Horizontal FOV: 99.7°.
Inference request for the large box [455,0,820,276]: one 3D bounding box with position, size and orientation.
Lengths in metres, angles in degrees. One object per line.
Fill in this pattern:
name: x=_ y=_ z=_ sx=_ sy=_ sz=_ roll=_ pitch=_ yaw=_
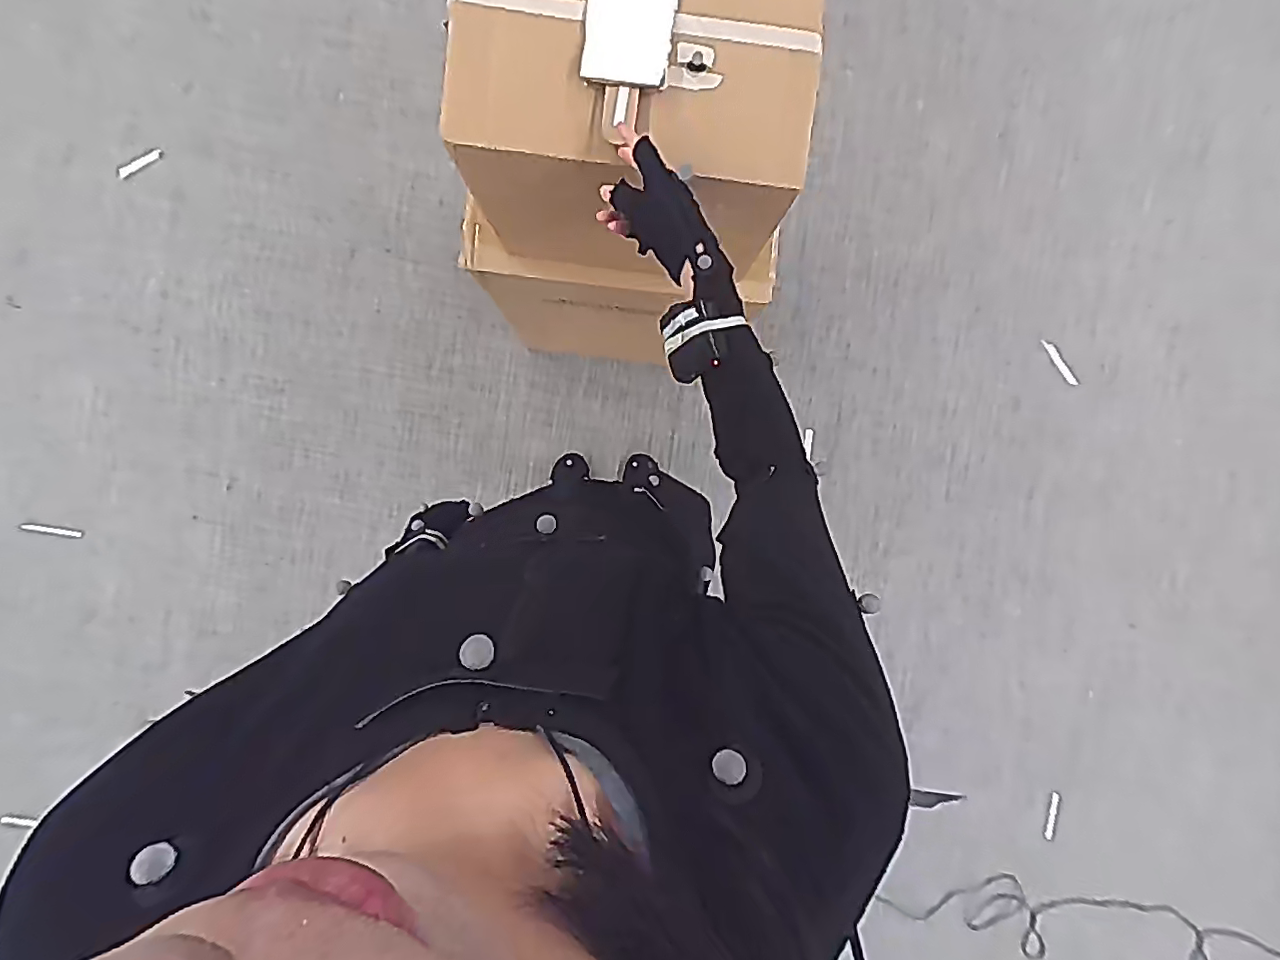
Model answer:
large box: x=-0.006 y=-0.510 z=0.757 sx=0.408 sy=0.320 sz=0.320 roll=6 pitch=91 yaw=-3
